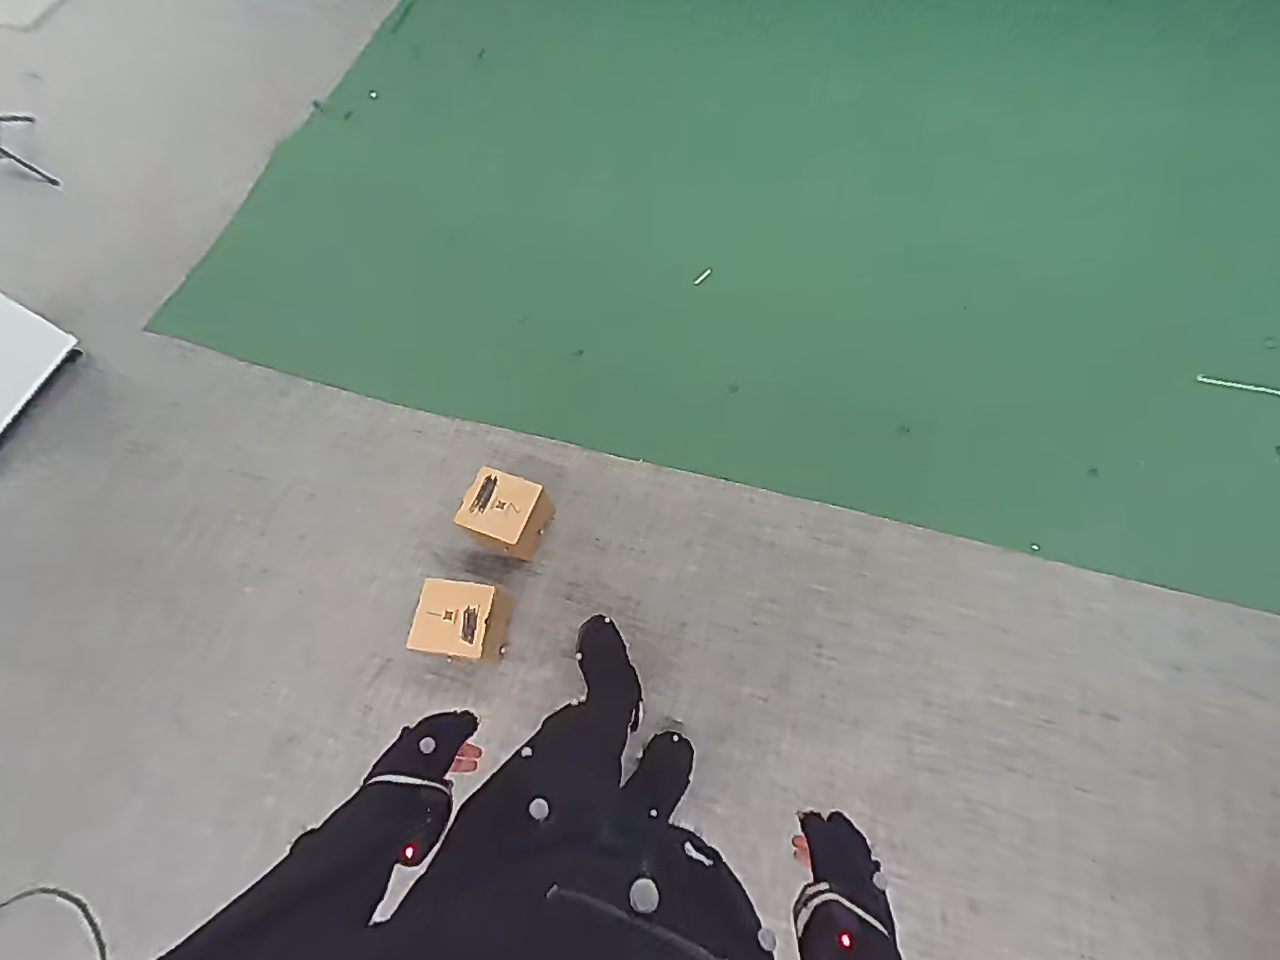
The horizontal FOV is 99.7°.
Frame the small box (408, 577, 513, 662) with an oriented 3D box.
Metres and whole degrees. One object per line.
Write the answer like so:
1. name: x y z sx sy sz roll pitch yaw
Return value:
1. small box: -0.424 0.344 1.314 0.179 0.176 0.168 6 67 6
